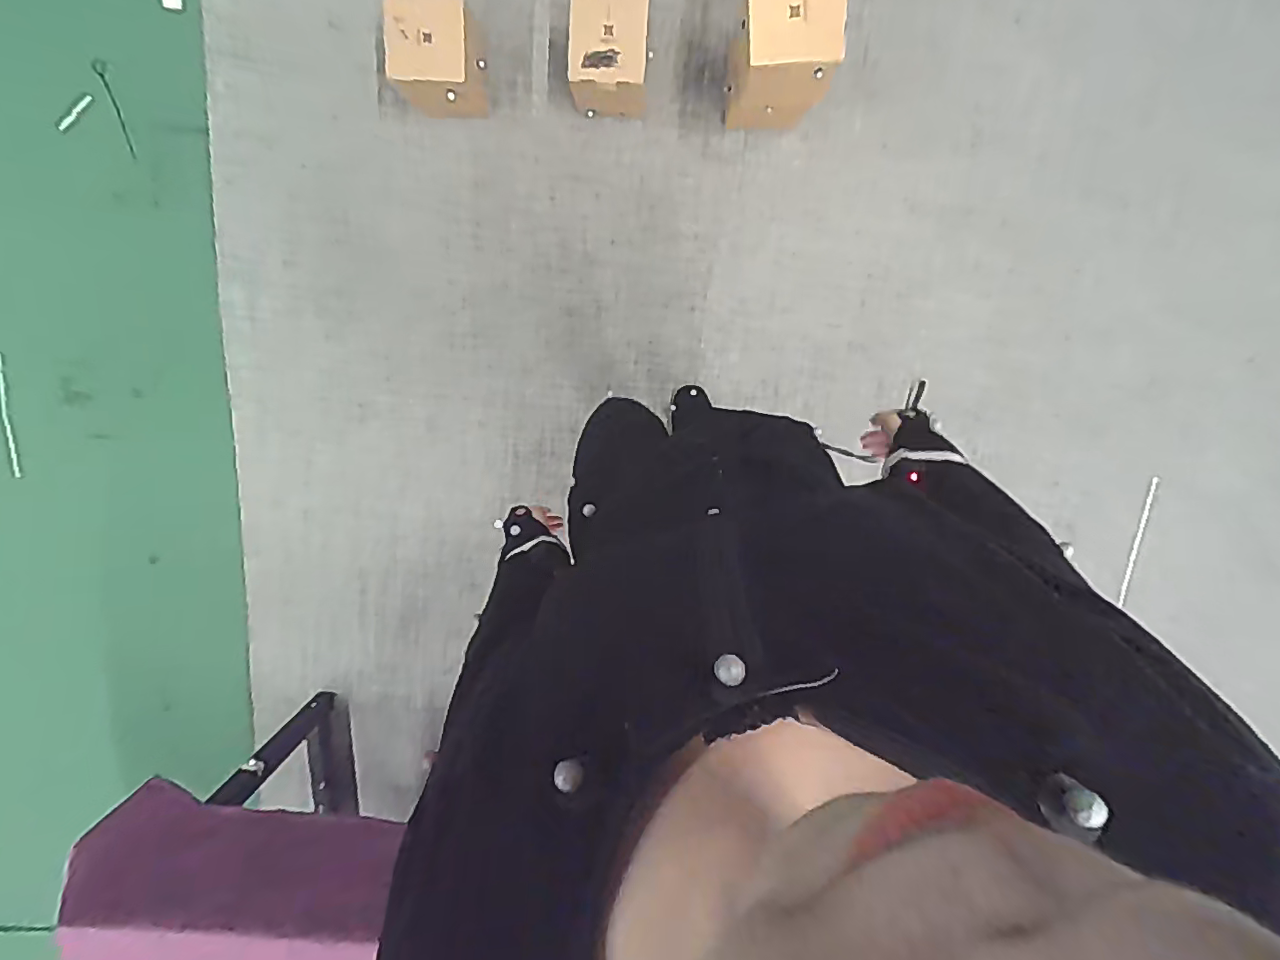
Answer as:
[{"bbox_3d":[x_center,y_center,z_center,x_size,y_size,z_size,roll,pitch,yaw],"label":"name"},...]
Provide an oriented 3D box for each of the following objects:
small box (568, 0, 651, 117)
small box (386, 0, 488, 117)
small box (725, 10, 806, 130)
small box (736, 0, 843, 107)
[{"bbox_3d":[-0.064,-0.949,1.216,0.168,0.176,0.179,4,102,2],"label":"small box"},{"bbox_3d":[-0.453,-0.958,1.233,0.179,0.176,0.168,4,102,2],"label":"small box"},{"bbox_3d":[0.287,-0.908,1.210,0.179,0.176,0.168,2,103,2],"label":"small box"},{"bbox_3d":[0.283,-0.859,1.055,0.179,0.176,0.168,-3,102,3],"label":"small box"}]
